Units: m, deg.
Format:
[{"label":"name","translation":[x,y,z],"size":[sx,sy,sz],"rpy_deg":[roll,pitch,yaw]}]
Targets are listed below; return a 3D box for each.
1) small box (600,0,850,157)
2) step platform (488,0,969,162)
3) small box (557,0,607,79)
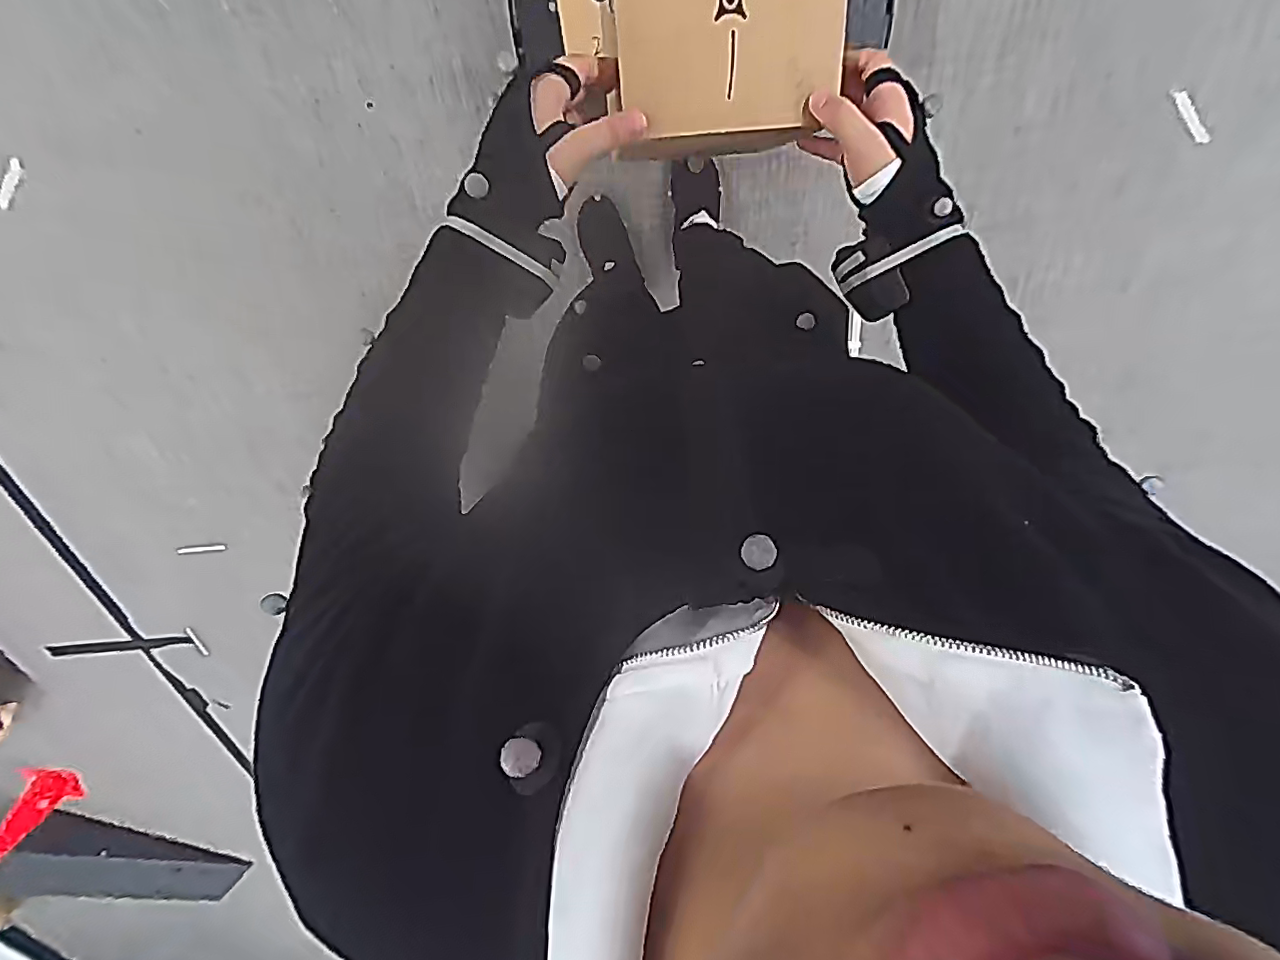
[{"label":"small box","translation":[0.056,-0.376,0.438],"size":[0.168,0.176,0.179],"rpy_deg":[-6,116,-3]},{"label":"step platform","translation":[0.126,-0.708,0.846],"size":[0.684,0.204,0.286],"rpy_deg":[-8,121,2]},{"label":"small box","translation":[-0.044,-0.747,0.857],"size":[0.168,0.176,0.179],"rpy_deg":[-7,121,2]}]
